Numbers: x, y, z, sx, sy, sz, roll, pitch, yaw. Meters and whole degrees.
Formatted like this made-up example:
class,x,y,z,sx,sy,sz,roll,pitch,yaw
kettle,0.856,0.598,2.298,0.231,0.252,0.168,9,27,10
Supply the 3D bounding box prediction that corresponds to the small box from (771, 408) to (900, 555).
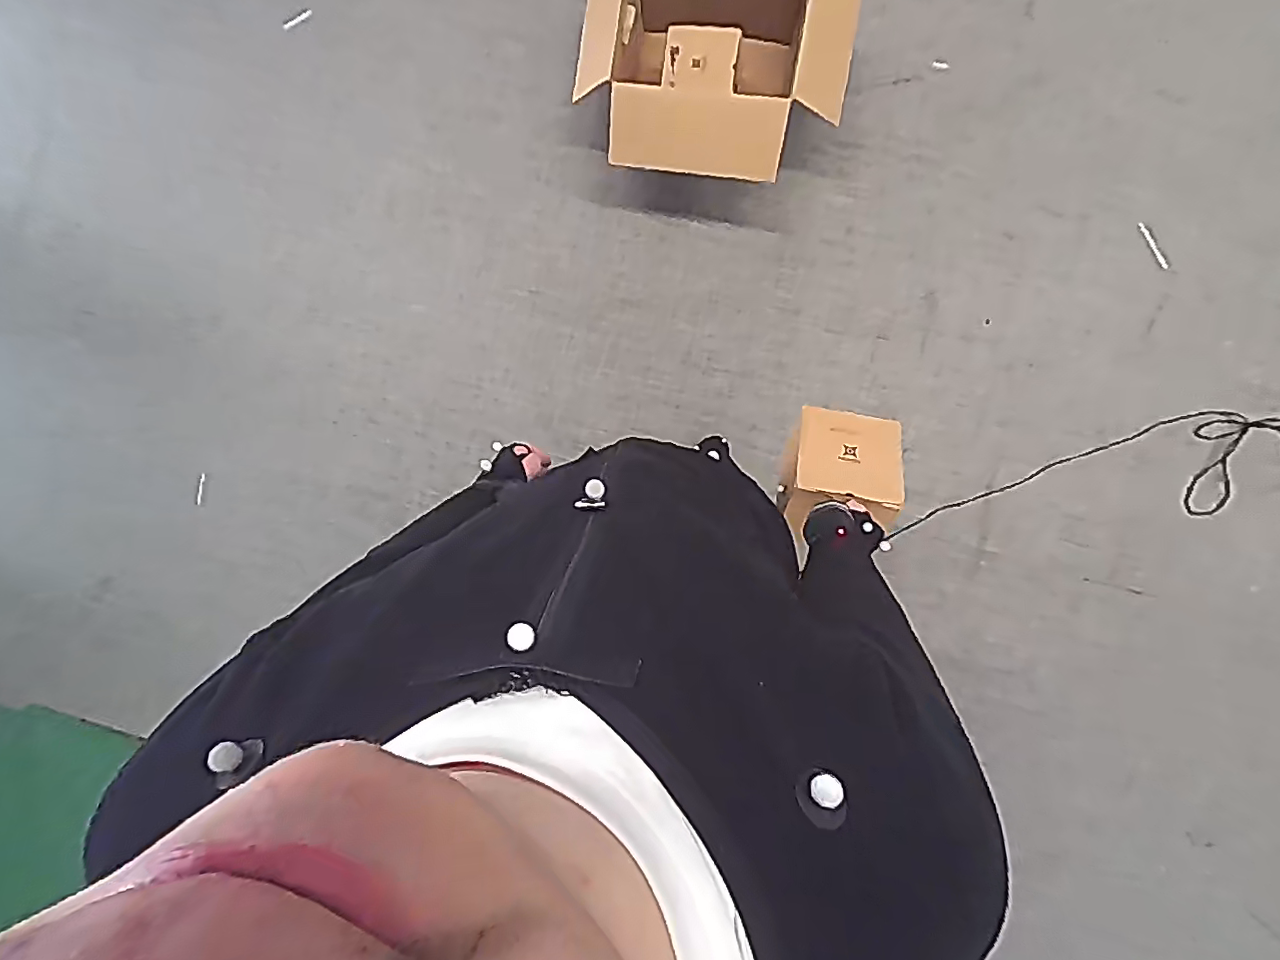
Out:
class,x,y,z,sx,sy,sz,roll,pitch,yaw
small box,0.328,0.007,0.933,0.168,0.176,0.179,11,54,5
